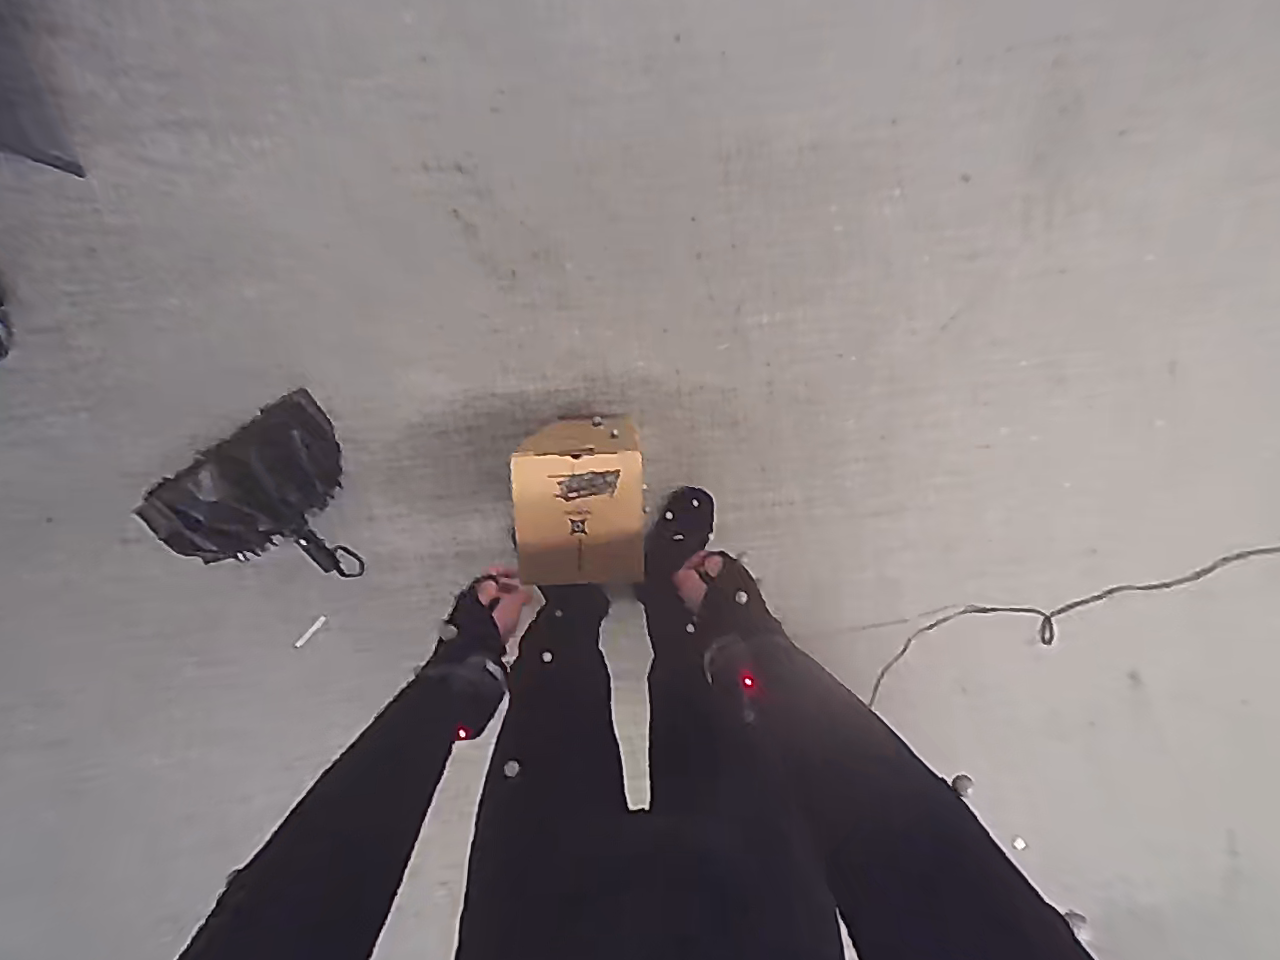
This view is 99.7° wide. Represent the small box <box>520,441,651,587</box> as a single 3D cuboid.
[{"bbox_3d":[-0.073,0.038,0.770,0.168,0.176,0.179,-2,102,-2],"label":"small box"}]
